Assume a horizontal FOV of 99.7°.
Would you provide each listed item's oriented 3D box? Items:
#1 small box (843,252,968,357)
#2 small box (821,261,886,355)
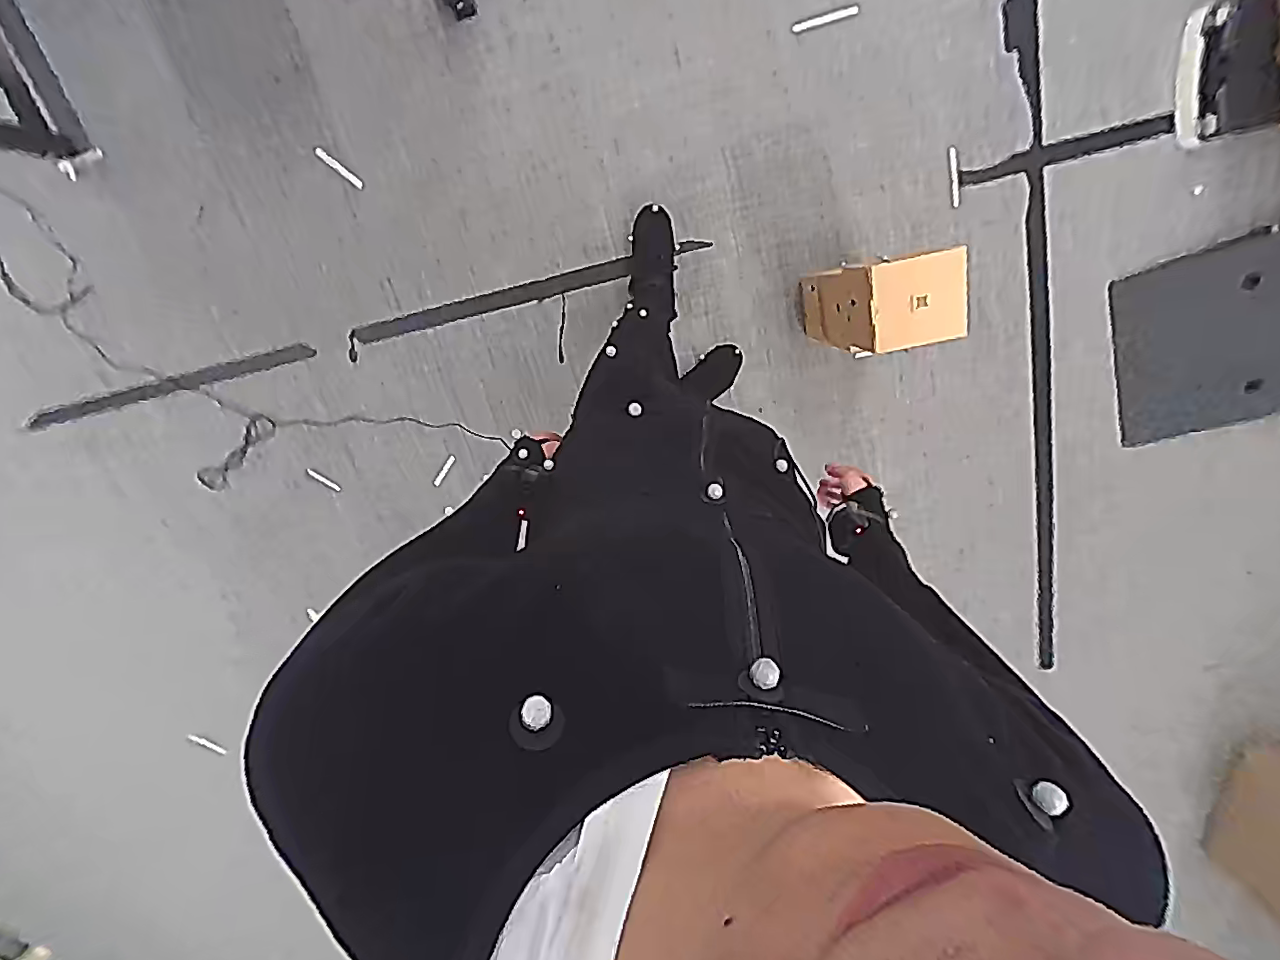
[{"bbox_3d":[0.529,-0.357,1.092,0.179,0.176,0.168,-11,110,6],"label":"small box"},{"bbox_3d":[0.530,-0.402,1.248,0.168,0.176,0.179,-13,110,6],"label":"small box"}]
